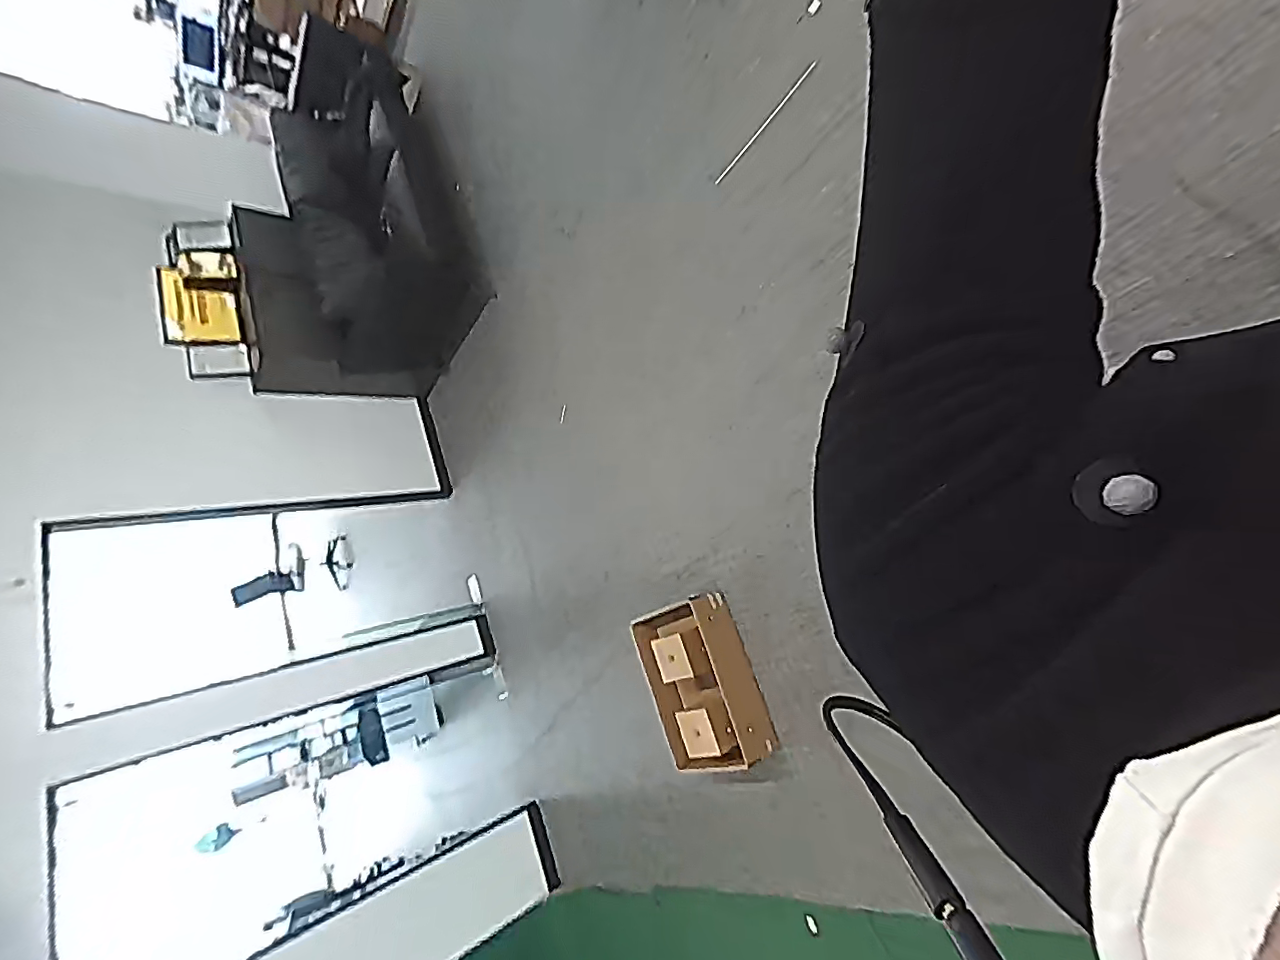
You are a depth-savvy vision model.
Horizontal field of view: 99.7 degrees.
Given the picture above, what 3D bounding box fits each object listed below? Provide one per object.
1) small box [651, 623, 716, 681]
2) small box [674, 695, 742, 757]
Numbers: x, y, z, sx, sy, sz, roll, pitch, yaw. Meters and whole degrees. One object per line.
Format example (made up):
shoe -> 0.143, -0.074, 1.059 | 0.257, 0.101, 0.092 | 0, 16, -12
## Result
small box -> 0.177, 0.677, 2.132 | 0.179, 0.176, 0.168 | -32, 71, 44
small box -> 0.267, 0.934, 2.058 | 0.179, 0.176, 0.168 | -35, 68, 44
